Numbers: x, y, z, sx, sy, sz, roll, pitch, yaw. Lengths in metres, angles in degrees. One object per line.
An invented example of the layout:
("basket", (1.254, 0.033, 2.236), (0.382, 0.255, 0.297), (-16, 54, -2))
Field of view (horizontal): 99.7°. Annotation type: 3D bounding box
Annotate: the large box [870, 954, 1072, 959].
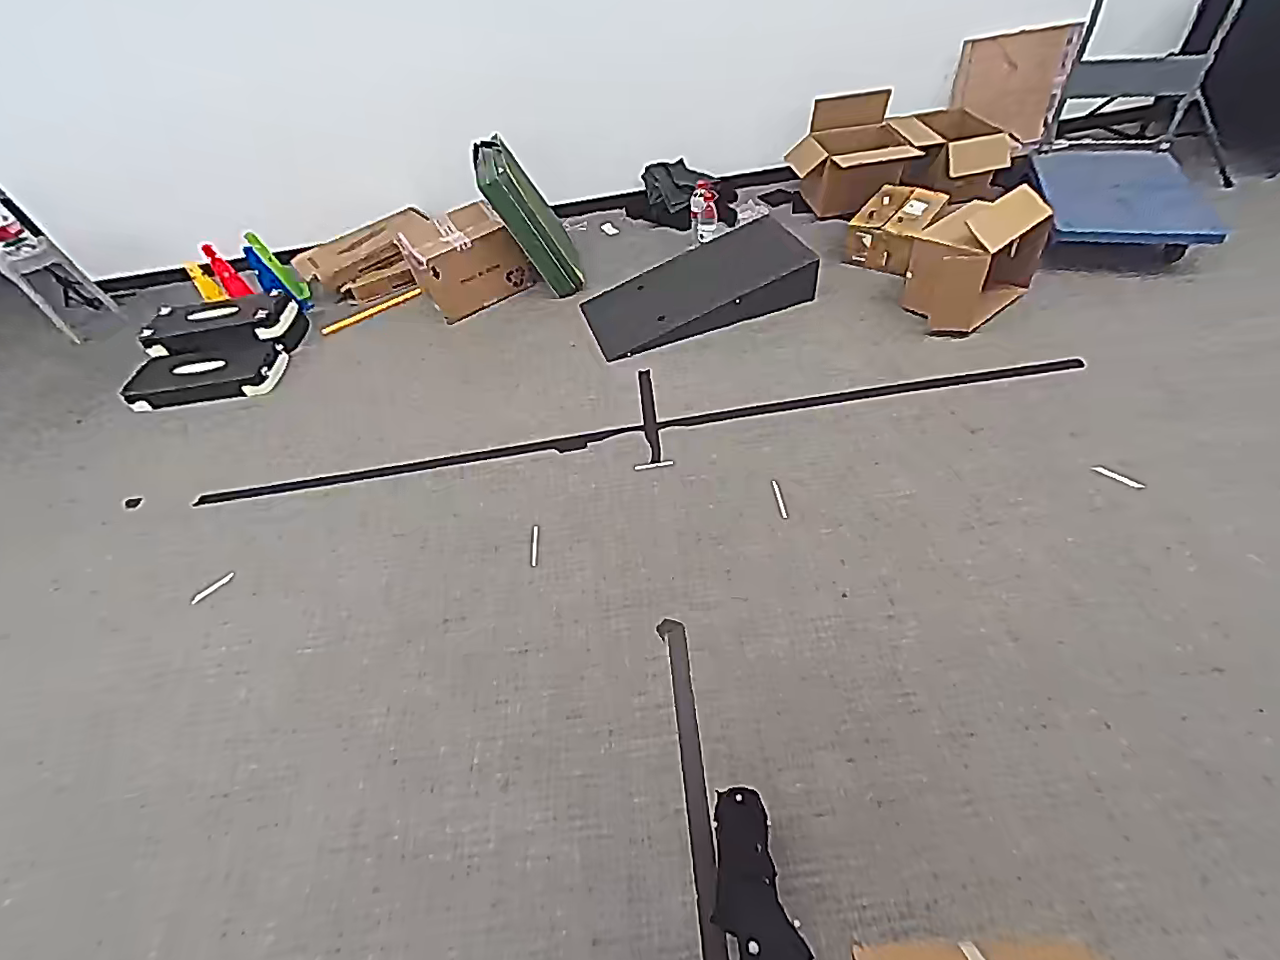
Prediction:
("large box", (0.447, 0.784, 0.543), (0.320, 0.408, 0.320), (-4, 76, 5))
